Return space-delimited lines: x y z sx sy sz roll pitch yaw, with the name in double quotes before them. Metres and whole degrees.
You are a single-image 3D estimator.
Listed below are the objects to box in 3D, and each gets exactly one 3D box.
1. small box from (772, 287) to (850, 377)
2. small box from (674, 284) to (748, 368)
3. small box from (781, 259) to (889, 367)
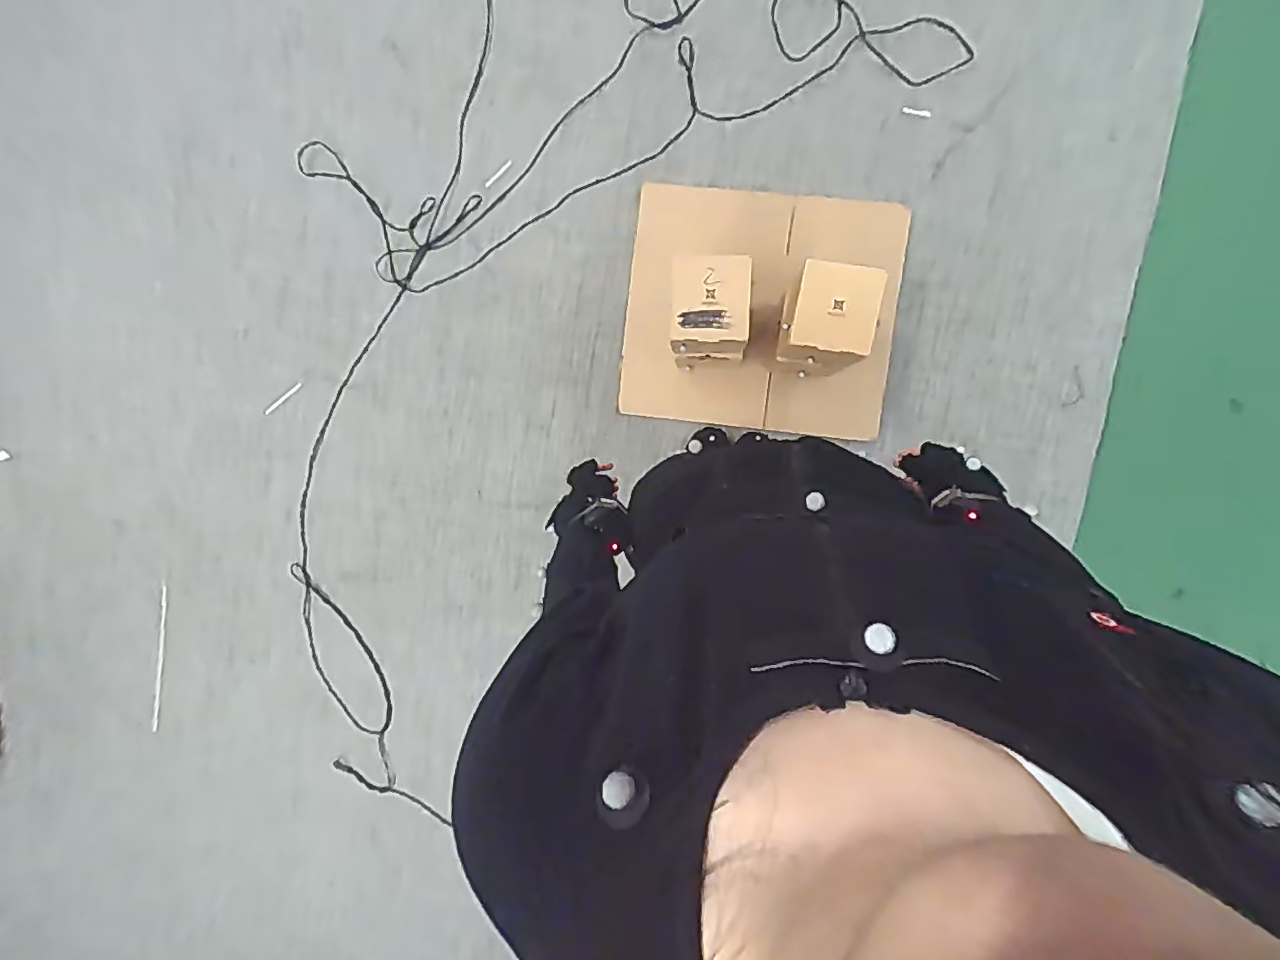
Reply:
"small box" 0.425 -0.358 1.330 0.168 0.176 0.179 7 95 7
"small box" 0.176 -0.379 1.351 0.168 0.176 0.179 3 94 6
"small box" 0.411 -0.353 1.168 0.168 0.176 0.179 10 96 5
